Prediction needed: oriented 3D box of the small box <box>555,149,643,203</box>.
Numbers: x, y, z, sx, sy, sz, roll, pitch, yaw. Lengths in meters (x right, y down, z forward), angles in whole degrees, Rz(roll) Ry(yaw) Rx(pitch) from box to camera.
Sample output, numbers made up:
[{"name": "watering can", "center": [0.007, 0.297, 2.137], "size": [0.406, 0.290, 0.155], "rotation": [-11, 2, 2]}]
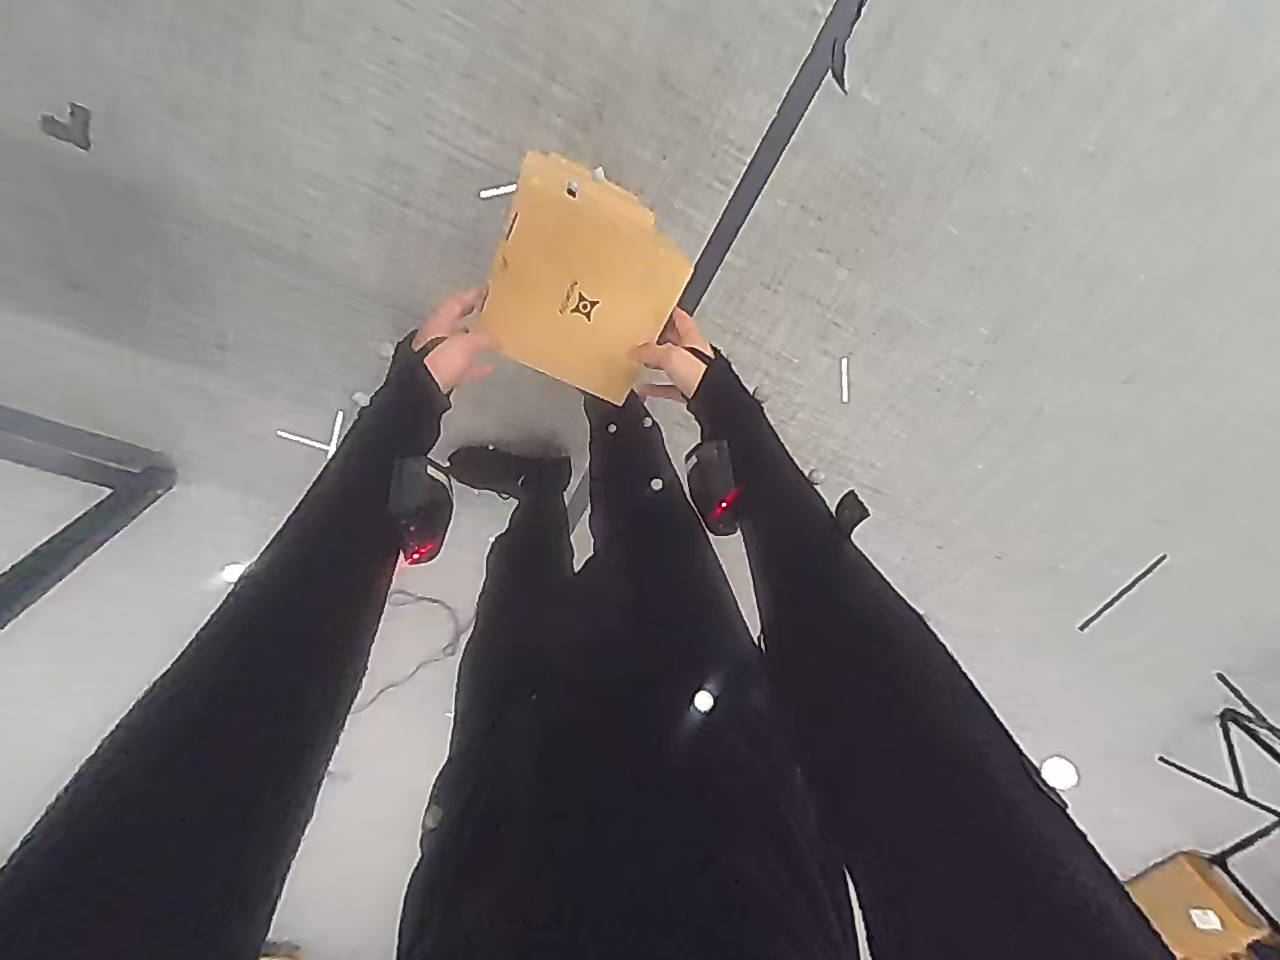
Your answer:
[{"name": "small box", "center": [-0.111, -0.490, 1.011], "size": [0.168, 0.176, 0.179], "rotation": [20, 118, -17]}]

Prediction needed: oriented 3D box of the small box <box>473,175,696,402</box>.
[{"name": "small box", "center": [-0.063, -0.219, 0.605], "size": [0.179, 0.176, 0.168], "rotation": [22, 117, -18]}]

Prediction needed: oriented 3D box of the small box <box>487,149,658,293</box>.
[{"name": "small box", "center": [-0.092, -0.318, 0.732], "size": [0.168, 0.176, 0.179], "rotation": [19, 117, -18]}]
